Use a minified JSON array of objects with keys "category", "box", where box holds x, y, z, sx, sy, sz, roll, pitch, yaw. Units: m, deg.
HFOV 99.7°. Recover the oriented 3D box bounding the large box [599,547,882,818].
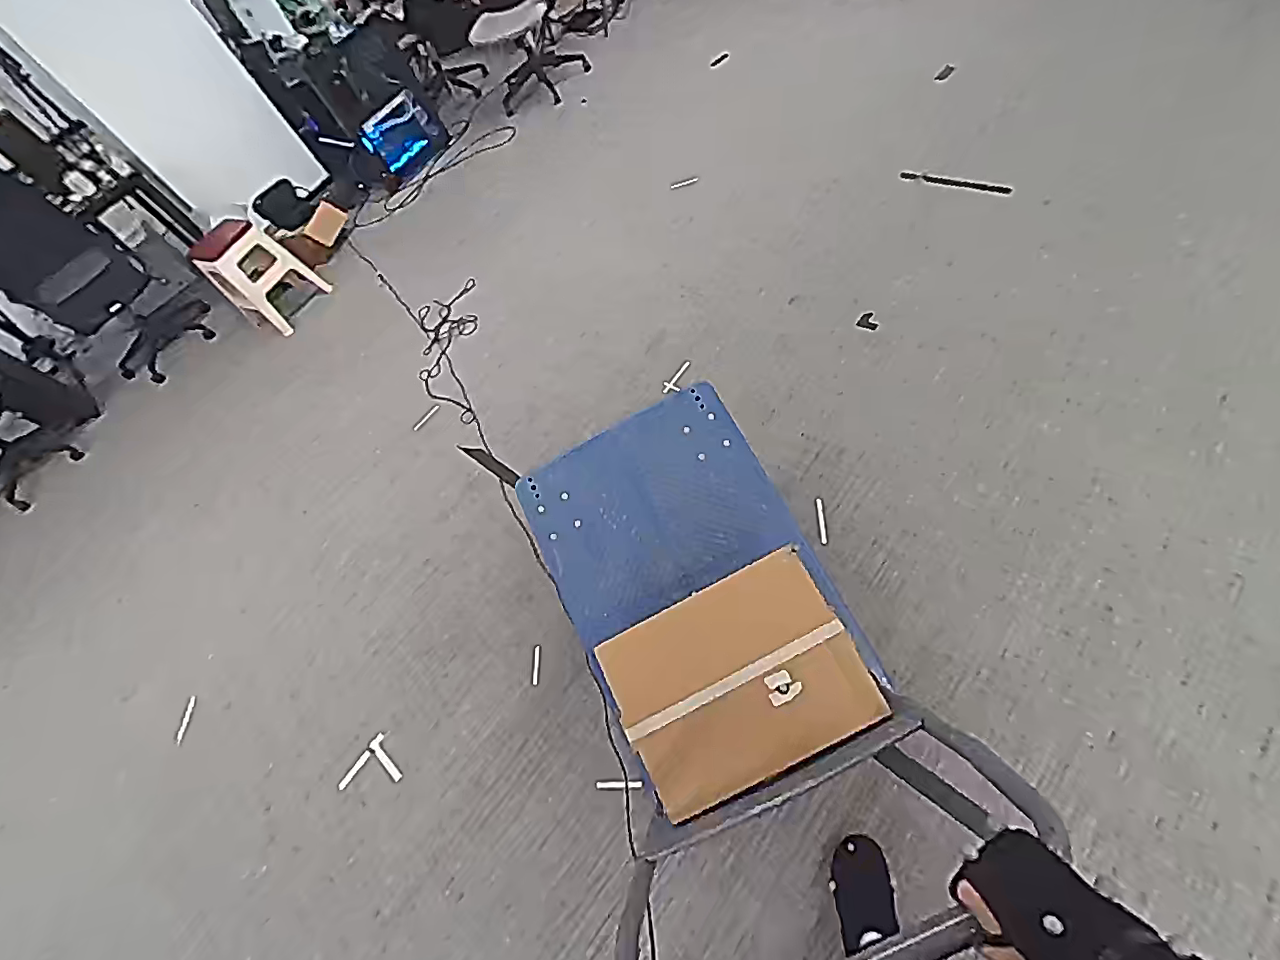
[{"category":"large box","box":[0.186,0.381,1.080,0.408,0.320,0.320,-28,73,1]}]
